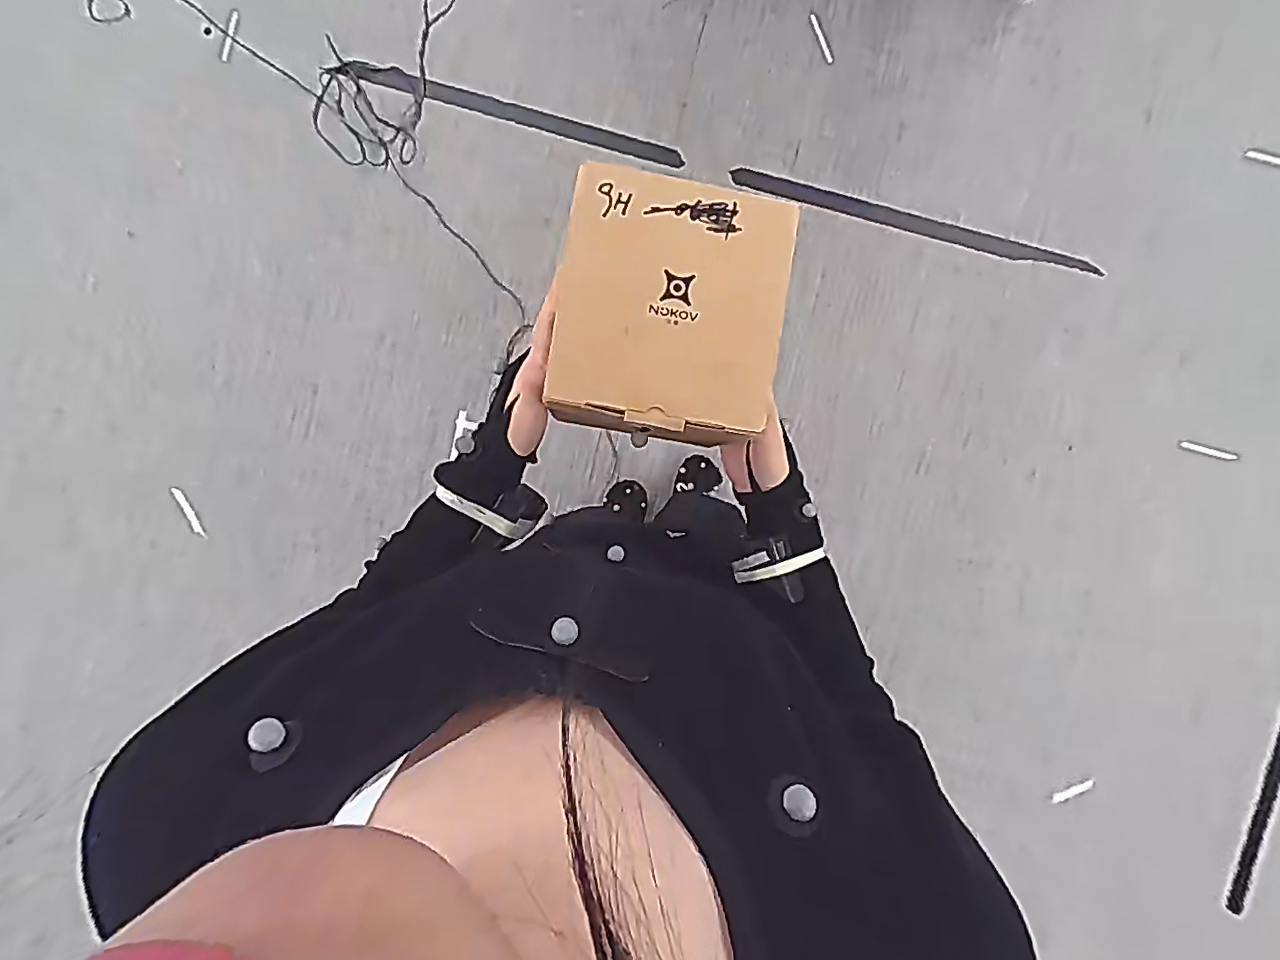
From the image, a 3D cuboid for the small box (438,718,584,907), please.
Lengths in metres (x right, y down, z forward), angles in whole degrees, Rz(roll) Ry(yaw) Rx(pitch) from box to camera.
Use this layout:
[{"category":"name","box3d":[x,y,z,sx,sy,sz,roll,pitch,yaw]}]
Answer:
[{"category":"small box","box3d":[-0.182,0.483,0.813,0.168,0.176,0.179,7,90,2]}]

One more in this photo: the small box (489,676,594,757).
[{"category":"small box","box3d":[-0.183,0.477,0.978,0.168,0.176,0.179,11,92,2]}]

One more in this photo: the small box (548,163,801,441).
[{"category":"small box","box3d":[0.020,-0.133,0.477,0.168,0.176,0.179,9,90,-6]}]

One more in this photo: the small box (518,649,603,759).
[{"category":"small box","box3d":[-0.178,0.481,1.139,0.168,0.176,0.179,12,90,0]}]
